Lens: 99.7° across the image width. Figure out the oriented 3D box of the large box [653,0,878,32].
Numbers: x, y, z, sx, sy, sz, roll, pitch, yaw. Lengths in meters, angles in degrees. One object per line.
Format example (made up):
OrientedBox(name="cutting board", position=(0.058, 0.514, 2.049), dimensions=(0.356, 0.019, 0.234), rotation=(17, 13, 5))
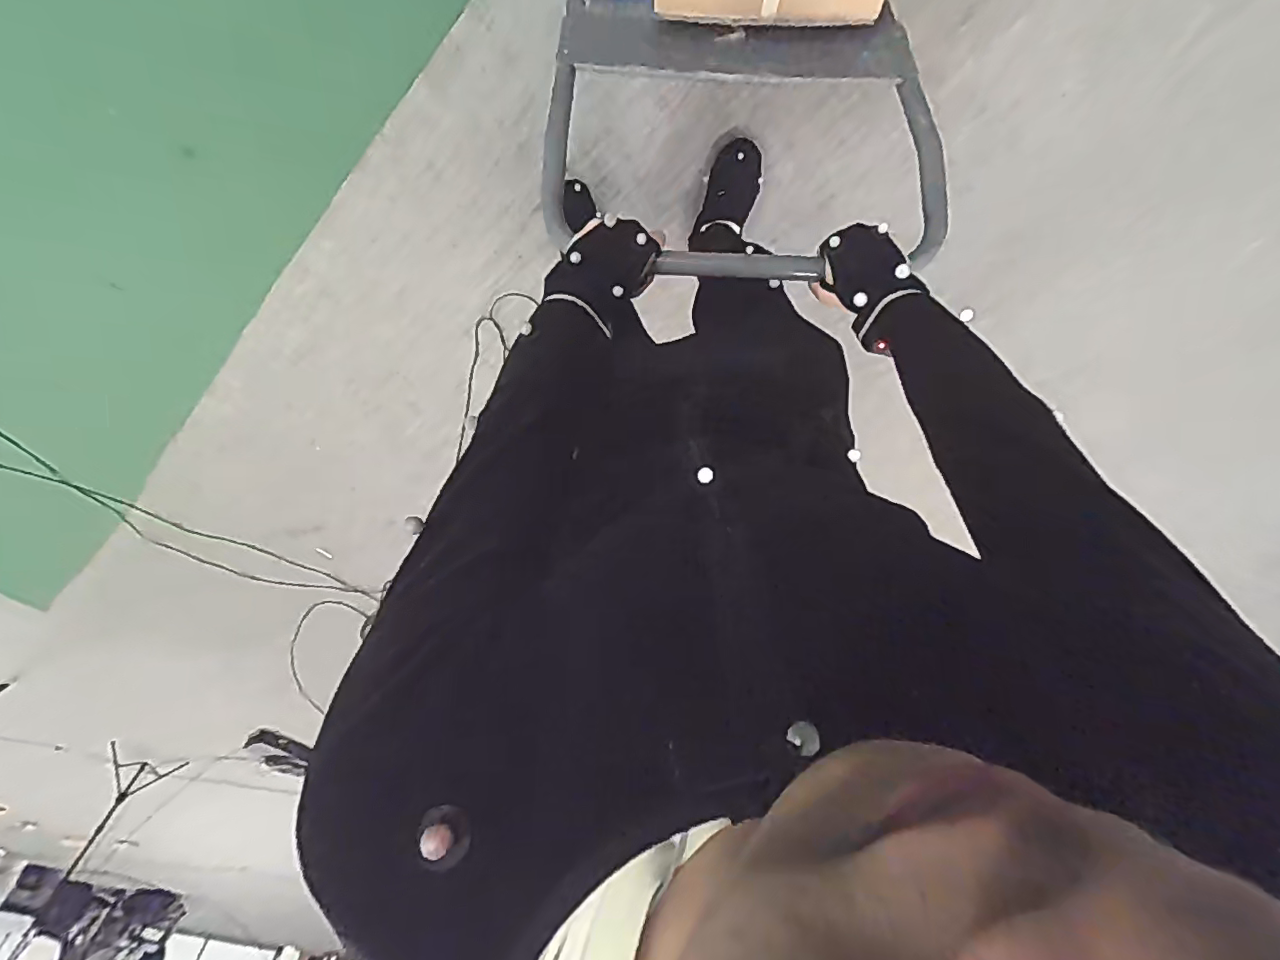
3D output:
OrientedBox(name="large box", position=(0.181, -0.873, 0.680), dimensions=(0.320, 0.320, 0.408), rotation=(2, 149, -1))
